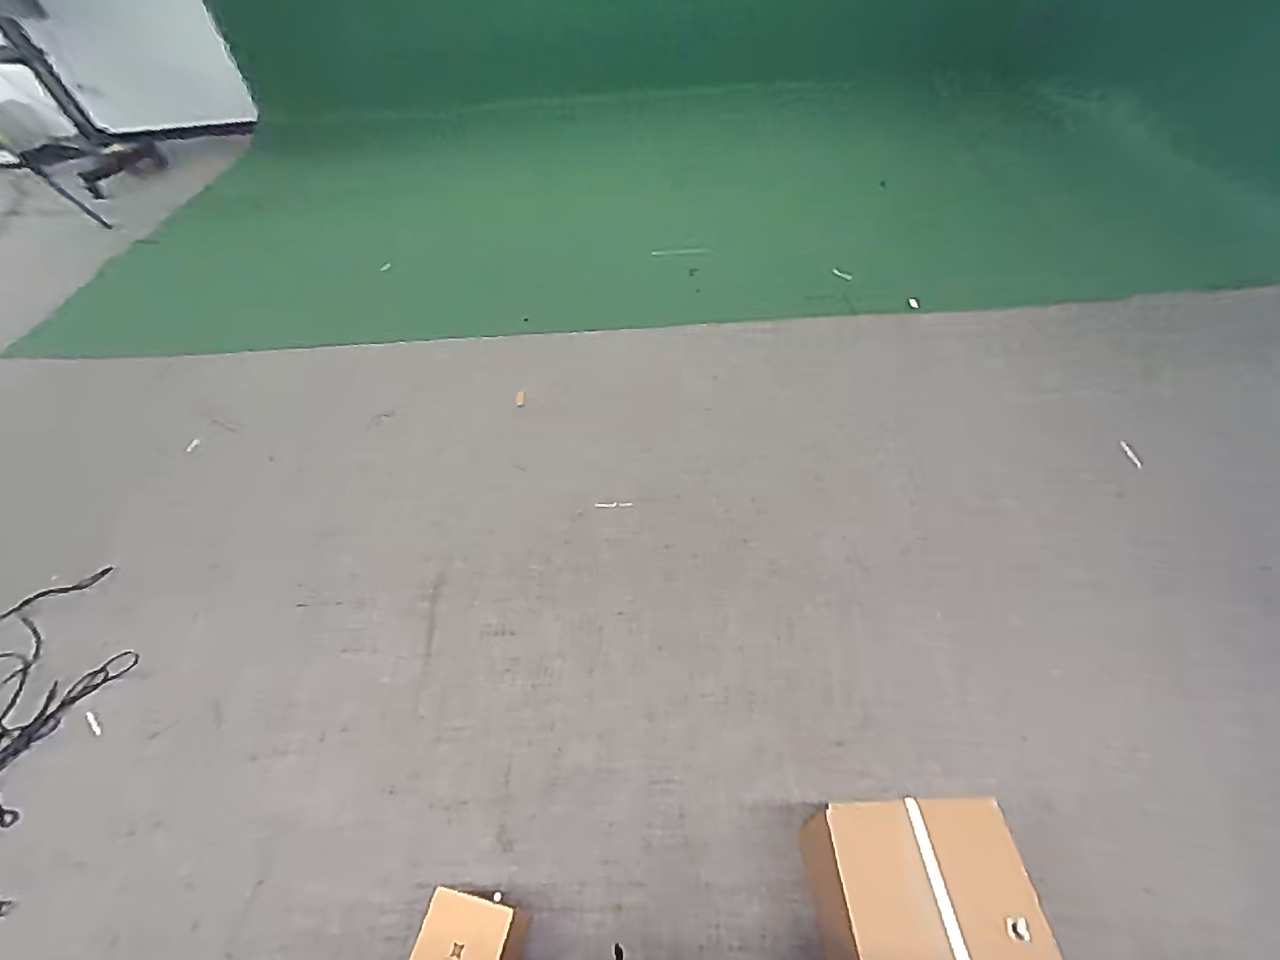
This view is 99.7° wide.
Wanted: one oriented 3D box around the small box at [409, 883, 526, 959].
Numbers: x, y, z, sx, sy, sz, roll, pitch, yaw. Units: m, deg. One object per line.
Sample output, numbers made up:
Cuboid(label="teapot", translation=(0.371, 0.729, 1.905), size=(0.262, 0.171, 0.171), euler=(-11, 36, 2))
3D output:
Cuboid(label="small box", translation=(-0.337, 0.927, 1.067), size=(0.168, 0.176, 0.179), euler=(8, 52, 11))
